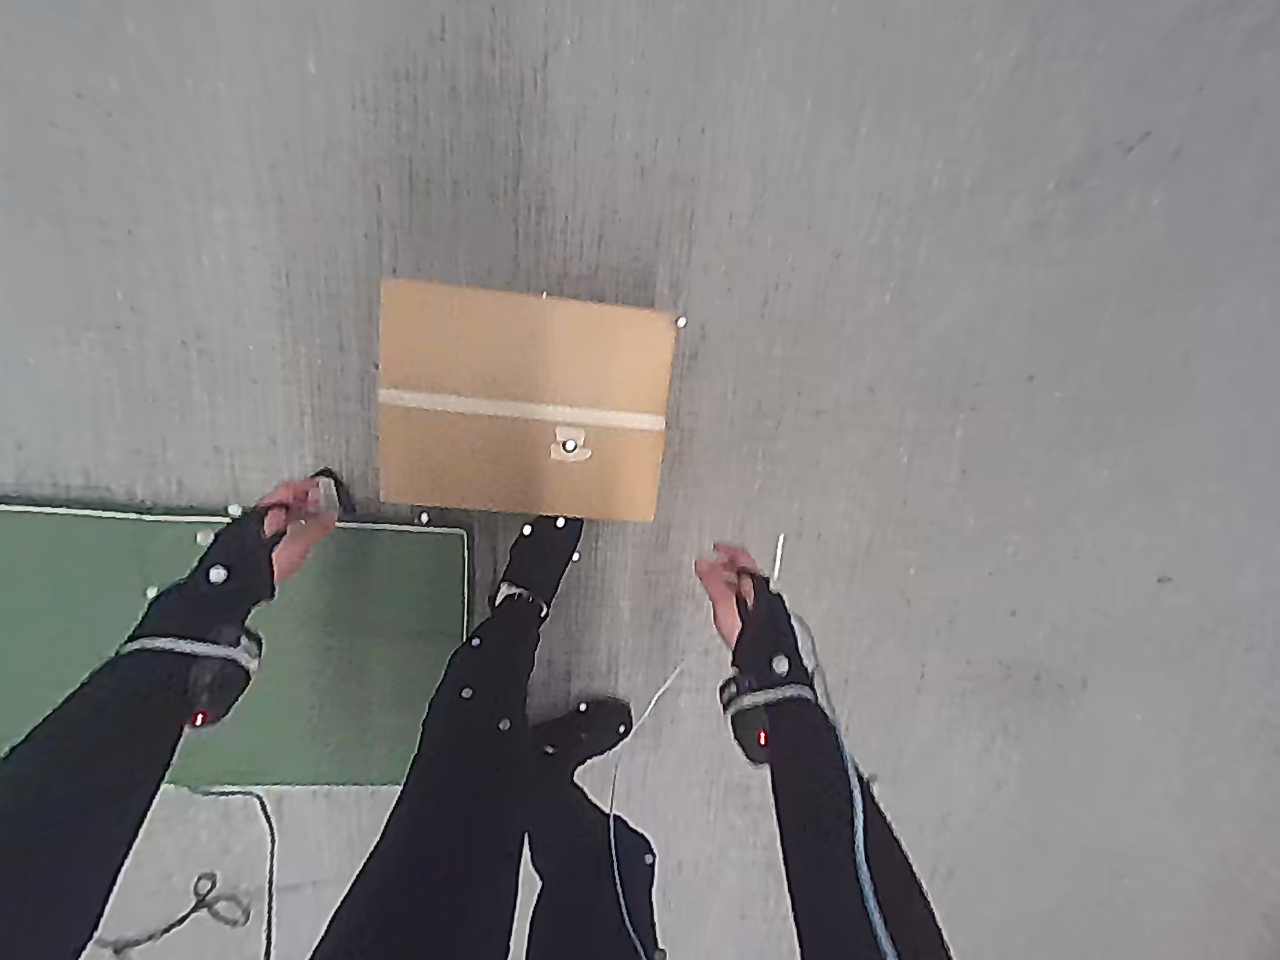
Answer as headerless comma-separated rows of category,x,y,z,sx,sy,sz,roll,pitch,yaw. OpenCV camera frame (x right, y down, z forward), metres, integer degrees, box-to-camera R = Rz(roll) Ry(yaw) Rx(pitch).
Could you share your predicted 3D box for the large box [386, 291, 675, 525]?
large box,-0.176,-0.123,0.924,0.408,0.320,0.320,5,103,-7
